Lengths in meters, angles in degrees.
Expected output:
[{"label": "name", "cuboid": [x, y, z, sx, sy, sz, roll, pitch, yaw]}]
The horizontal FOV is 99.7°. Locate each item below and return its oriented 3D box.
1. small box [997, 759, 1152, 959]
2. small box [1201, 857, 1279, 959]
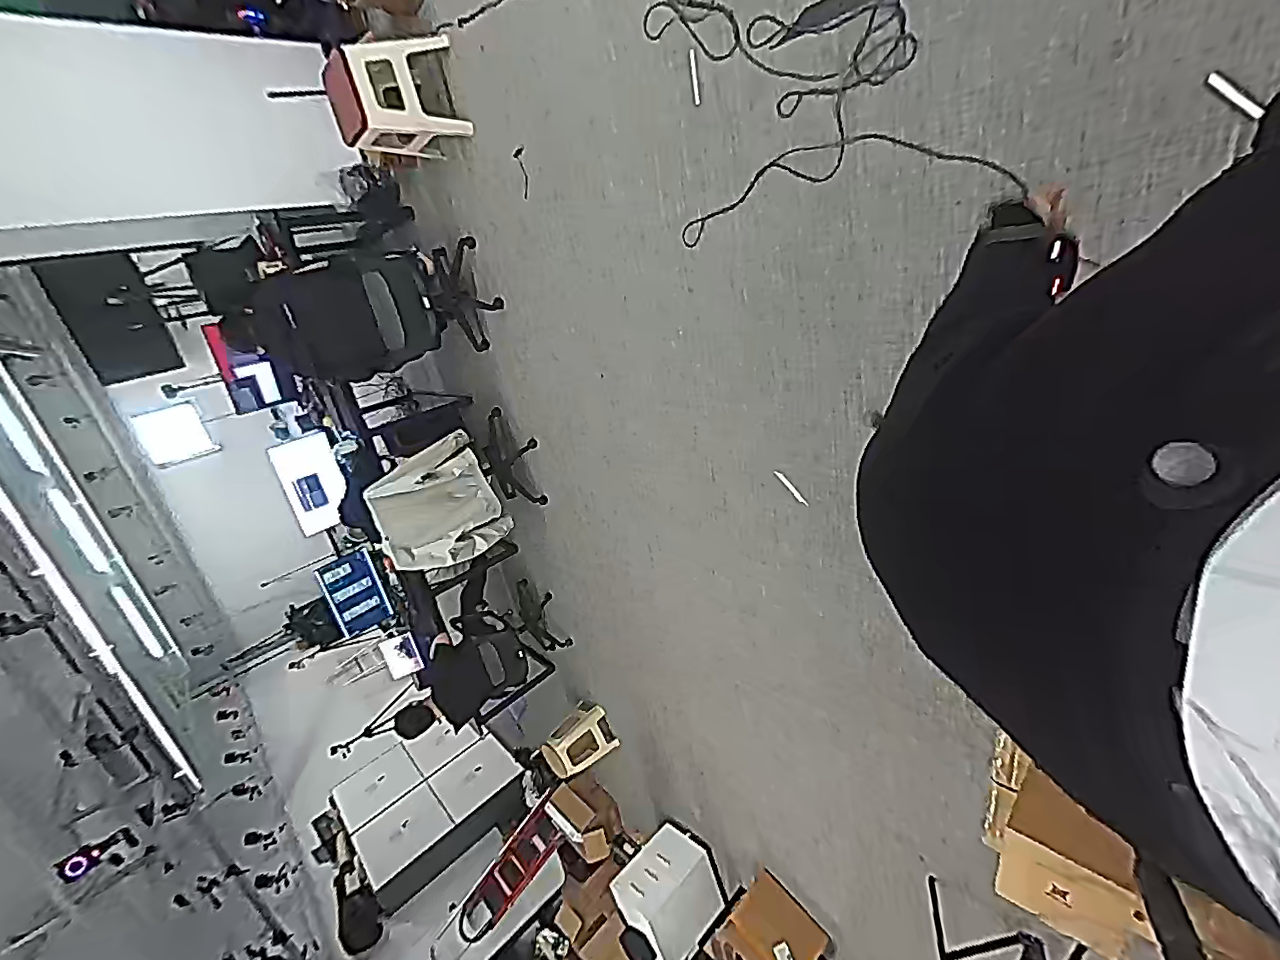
[{"label": "small box", "cuboid": [0.717, 0.615, 0.895, 0.168, 0.176, 0.179, 12, 120, 45]}, {"label": "small box", "cuboid": [0.881, 0.670, 0.723, 0.168, 0.176, 0.179, 14, 122, 48]}]
